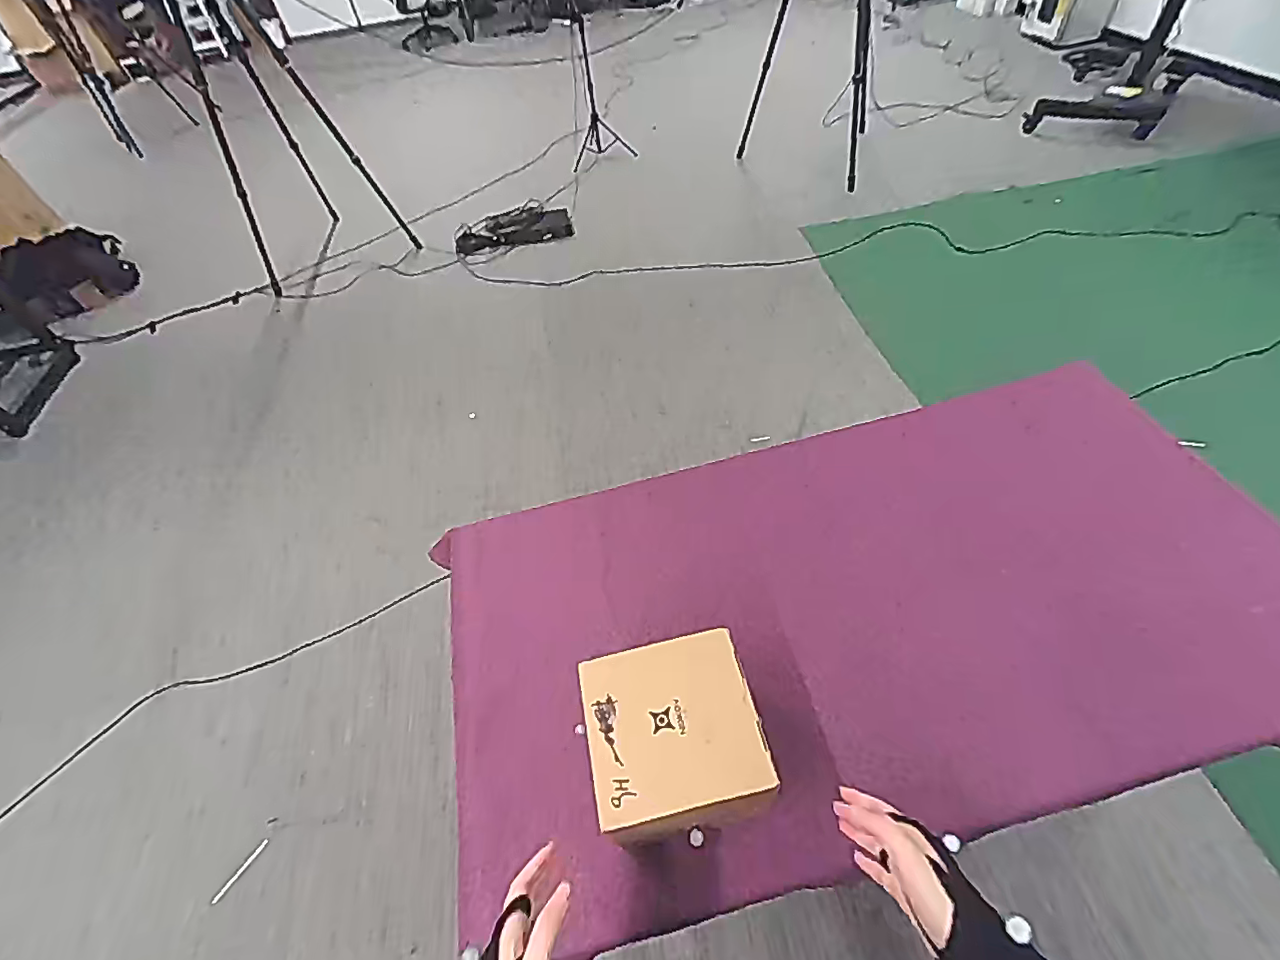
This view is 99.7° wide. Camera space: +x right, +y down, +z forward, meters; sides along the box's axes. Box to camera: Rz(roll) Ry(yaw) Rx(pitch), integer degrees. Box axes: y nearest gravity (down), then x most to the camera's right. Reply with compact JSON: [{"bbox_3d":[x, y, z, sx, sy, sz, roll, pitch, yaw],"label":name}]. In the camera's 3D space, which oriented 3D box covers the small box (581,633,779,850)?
[{"bbox_3d":[0.040,0.300,0.616,0.179,0.176,0.168,-13,50,-3],"label":"small box"}]
